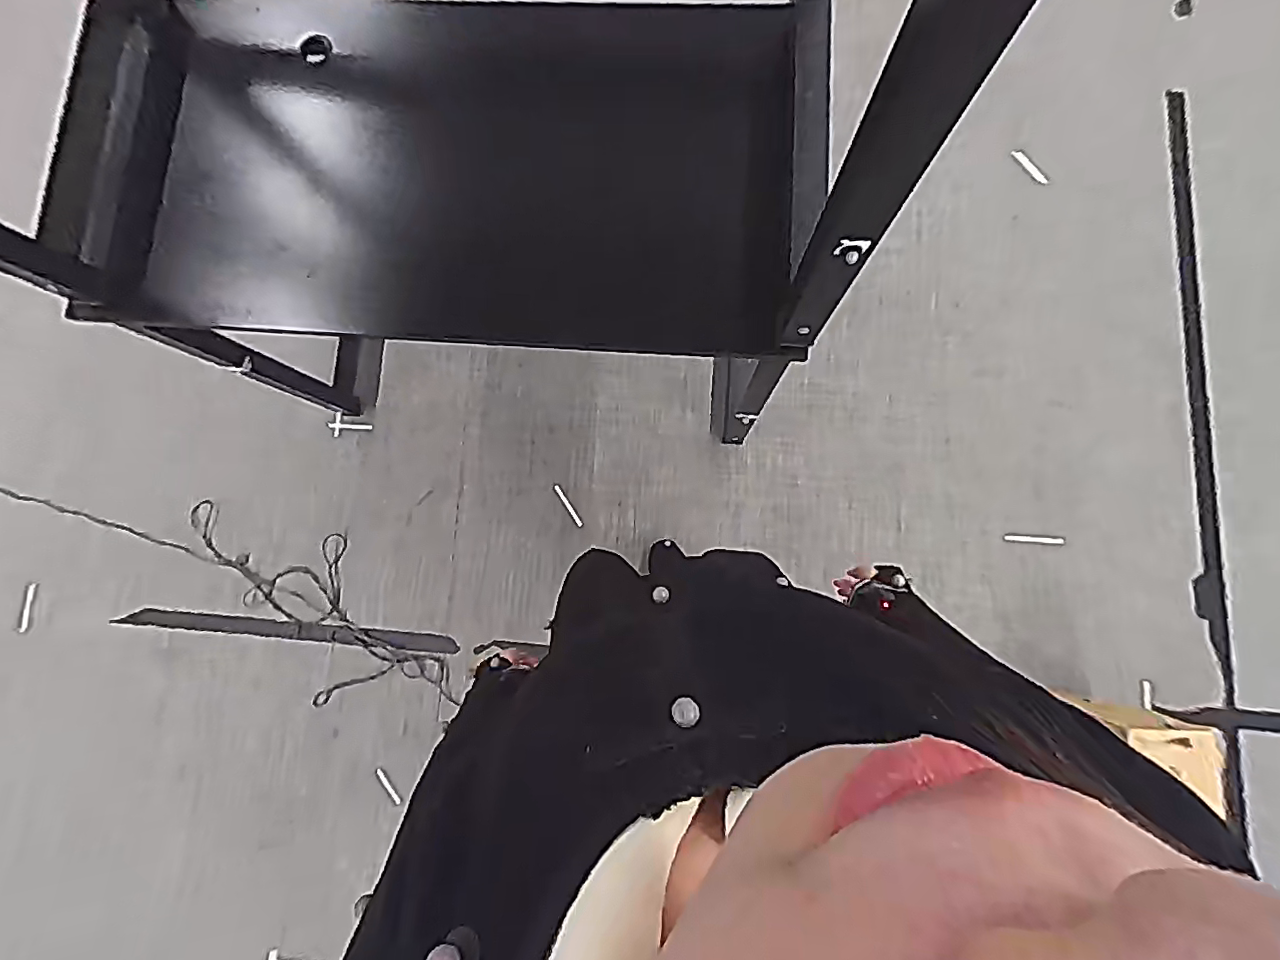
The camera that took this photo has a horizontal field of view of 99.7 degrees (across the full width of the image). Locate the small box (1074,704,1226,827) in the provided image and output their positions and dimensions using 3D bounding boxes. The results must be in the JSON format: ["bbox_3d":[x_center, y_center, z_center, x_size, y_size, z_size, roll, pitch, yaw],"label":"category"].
[{"bbox_3d":[1.060,0.592,1.139,0.168,0.176,0.179,1,84,3],"label":"small box"}]

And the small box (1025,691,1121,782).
[{"bbox_3d":[1.067,0.617,1.301,0.179,0.176,0.168,5,83,4],"label":"small box"}]
